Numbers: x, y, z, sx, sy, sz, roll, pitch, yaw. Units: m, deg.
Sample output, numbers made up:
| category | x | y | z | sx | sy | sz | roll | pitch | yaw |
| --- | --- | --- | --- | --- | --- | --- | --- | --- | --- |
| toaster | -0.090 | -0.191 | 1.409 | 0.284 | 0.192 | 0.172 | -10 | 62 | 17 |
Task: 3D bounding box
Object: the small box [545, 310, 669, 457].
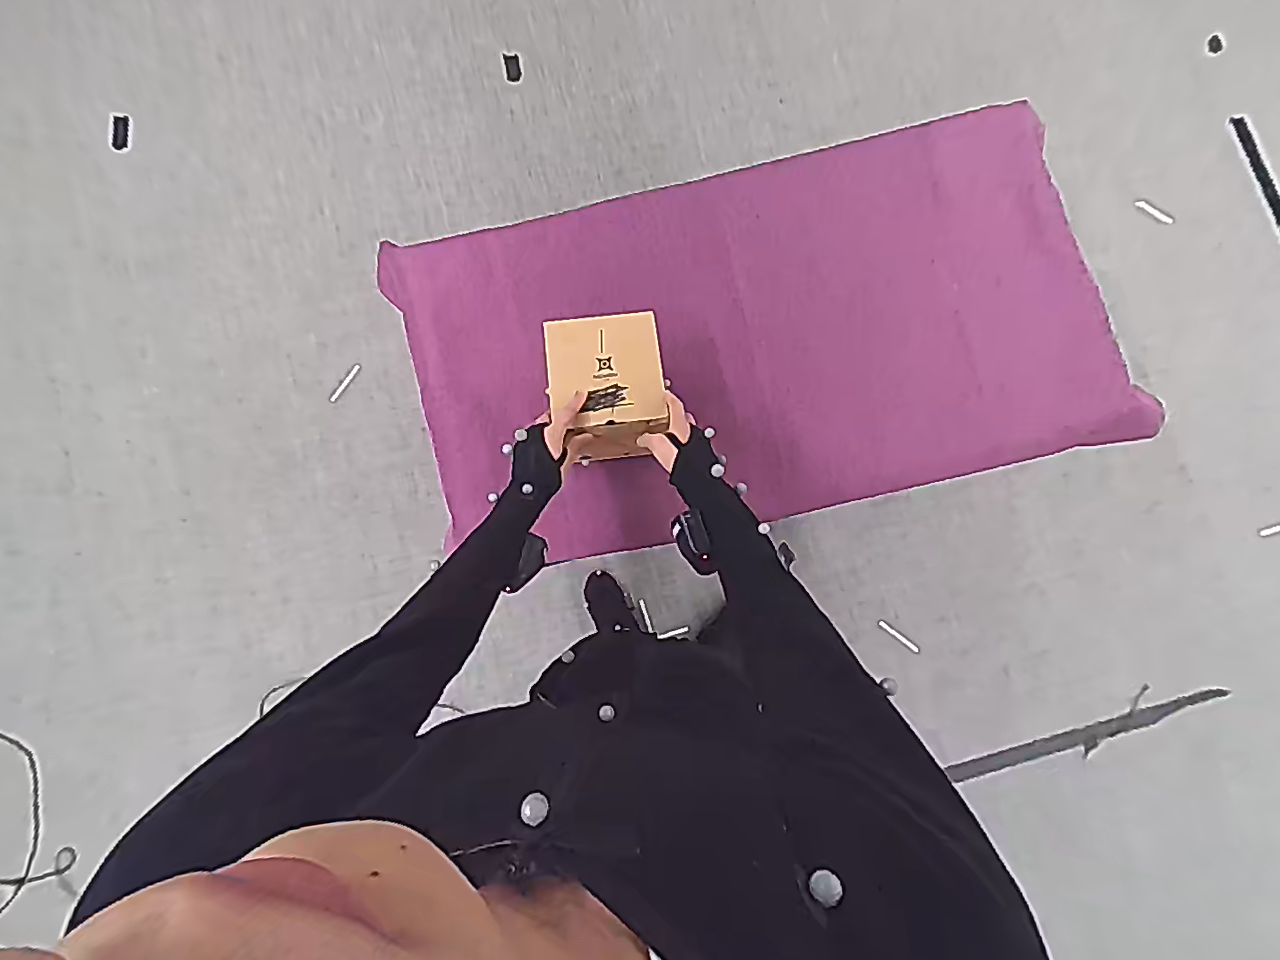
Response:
| category | x | y | z | sx | sy | sz | roll | pitch | yaw |
| --- | --- | --- | --- | --- | --- | --- | --- | --- | --- |
| small box | -0.048 | -0.140 | 0.849 | 0.168 | 0.176 | 0.179 | -7 | 77 | -2 |
